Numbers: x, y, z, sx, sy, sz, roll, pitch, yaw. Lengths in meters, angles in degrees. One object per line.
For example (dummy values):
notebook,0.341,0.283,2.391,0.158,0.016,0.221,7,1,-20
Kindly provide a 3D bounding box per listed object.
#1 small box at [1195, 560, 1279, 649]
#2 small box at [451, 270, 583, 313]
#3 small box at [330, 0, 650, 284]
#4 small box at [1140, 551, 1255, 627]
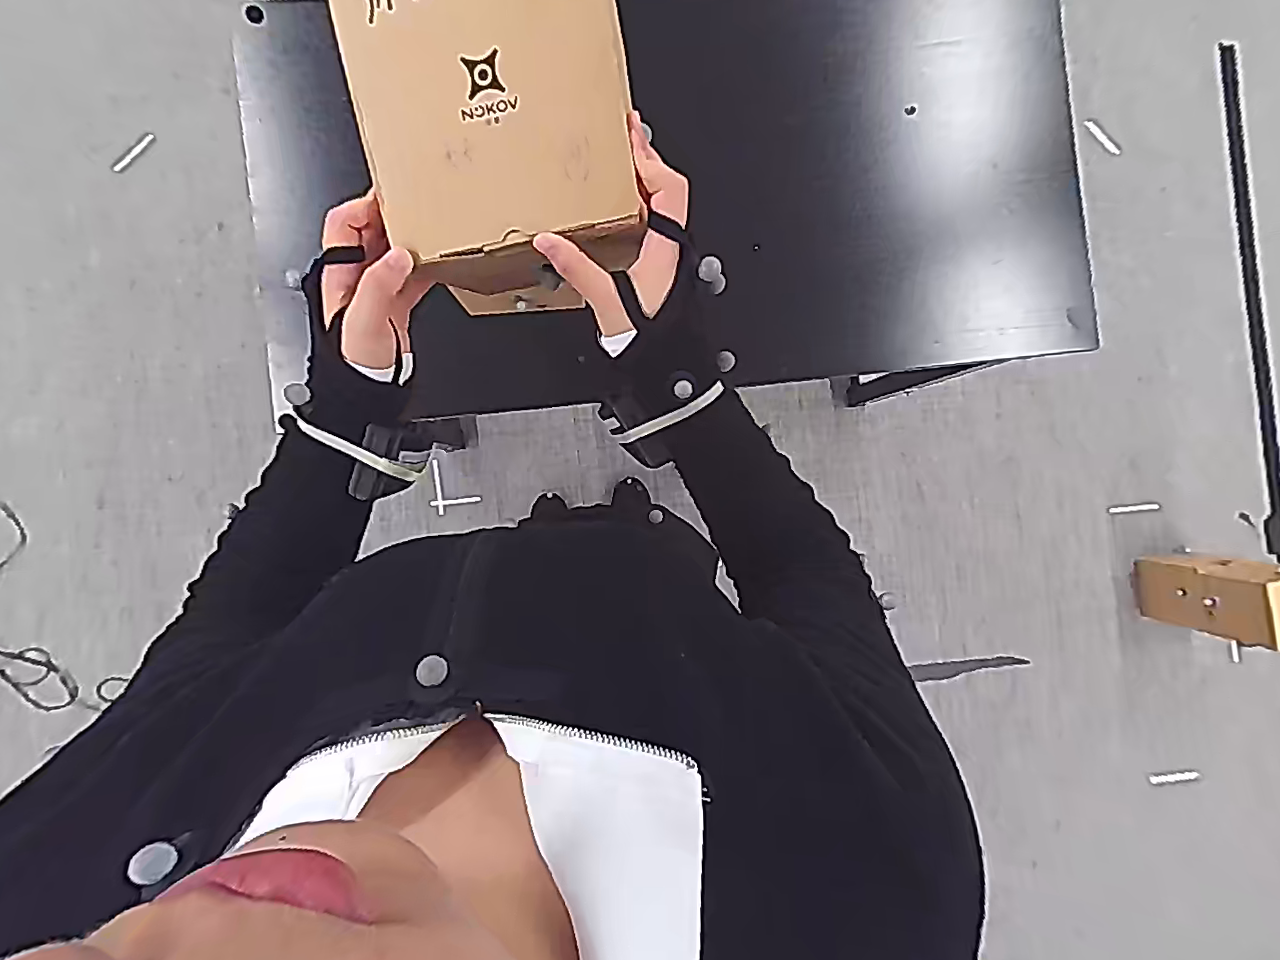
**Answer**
small box,1.547,0.299,1.334,0.179,0.176,0.168,-10,89,-1
small box,-0.164,-0.330,0.693,0.168,0.176,0.179,-5,90,-2
small box,-0.088,-0.252,0.407,0.168,0.176,0.179,-8,103,6
small box,1.543,0.296,1.497,0.168,0.176,0.179,-8,91,-2
